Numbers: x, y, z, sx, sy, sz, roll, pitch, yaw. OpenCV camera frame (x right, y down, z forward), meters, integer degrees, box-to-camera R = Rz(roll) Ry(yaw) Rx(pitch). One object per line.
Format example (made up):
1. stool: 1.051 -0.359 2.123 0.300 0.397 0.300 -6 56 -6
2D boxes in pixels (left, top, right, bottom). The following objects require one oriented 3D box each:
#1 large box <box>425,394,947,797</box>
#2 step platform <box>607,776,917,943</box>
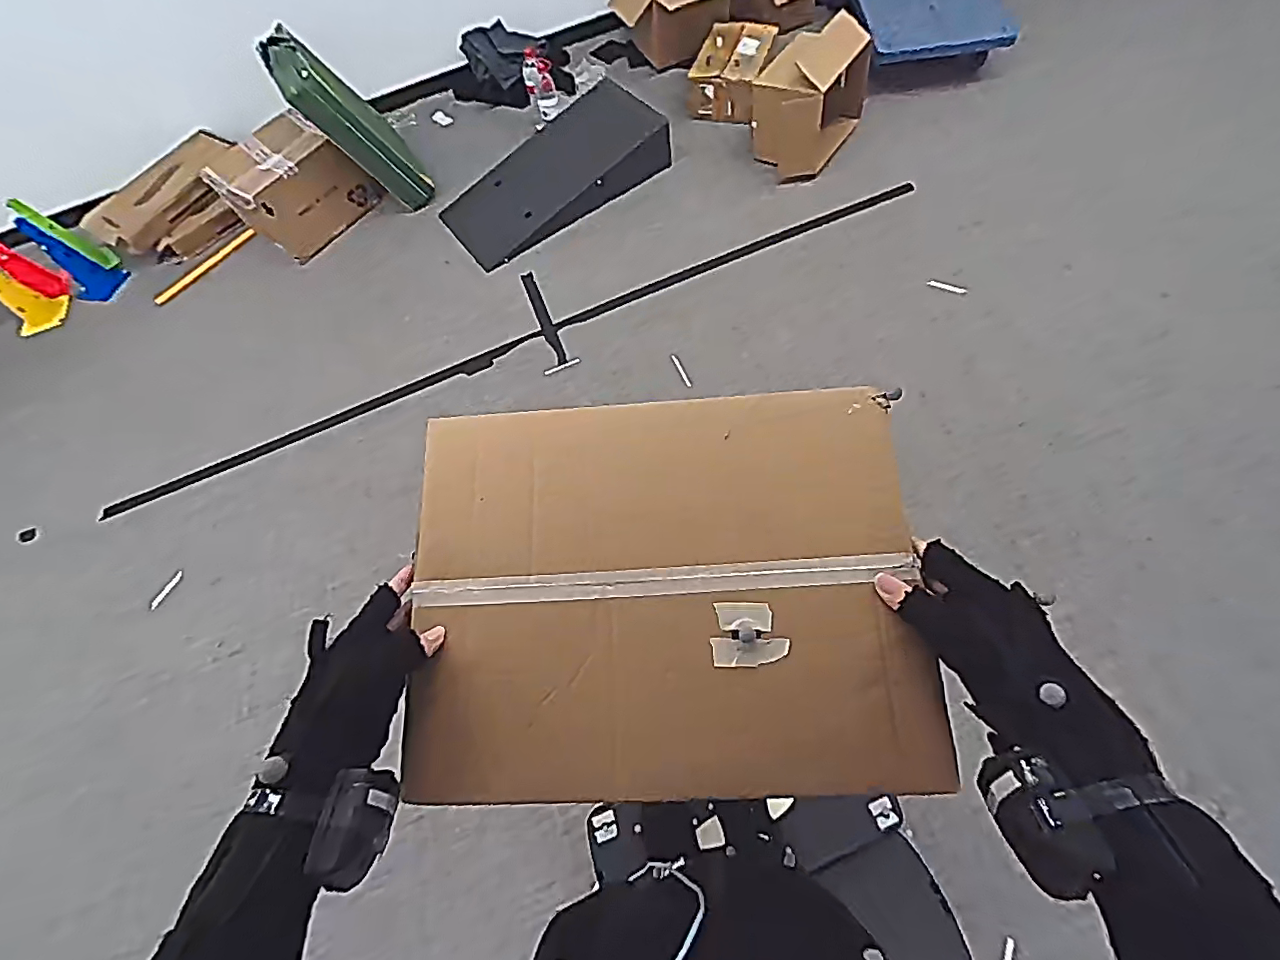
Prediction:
1. large box: 0.032 0.128 0.591 0.408 0.320 0.320 -4 73 4
2. step platform: 0.268 0.757 1.257 0.684 0.204 0.286 -23 63 -5
